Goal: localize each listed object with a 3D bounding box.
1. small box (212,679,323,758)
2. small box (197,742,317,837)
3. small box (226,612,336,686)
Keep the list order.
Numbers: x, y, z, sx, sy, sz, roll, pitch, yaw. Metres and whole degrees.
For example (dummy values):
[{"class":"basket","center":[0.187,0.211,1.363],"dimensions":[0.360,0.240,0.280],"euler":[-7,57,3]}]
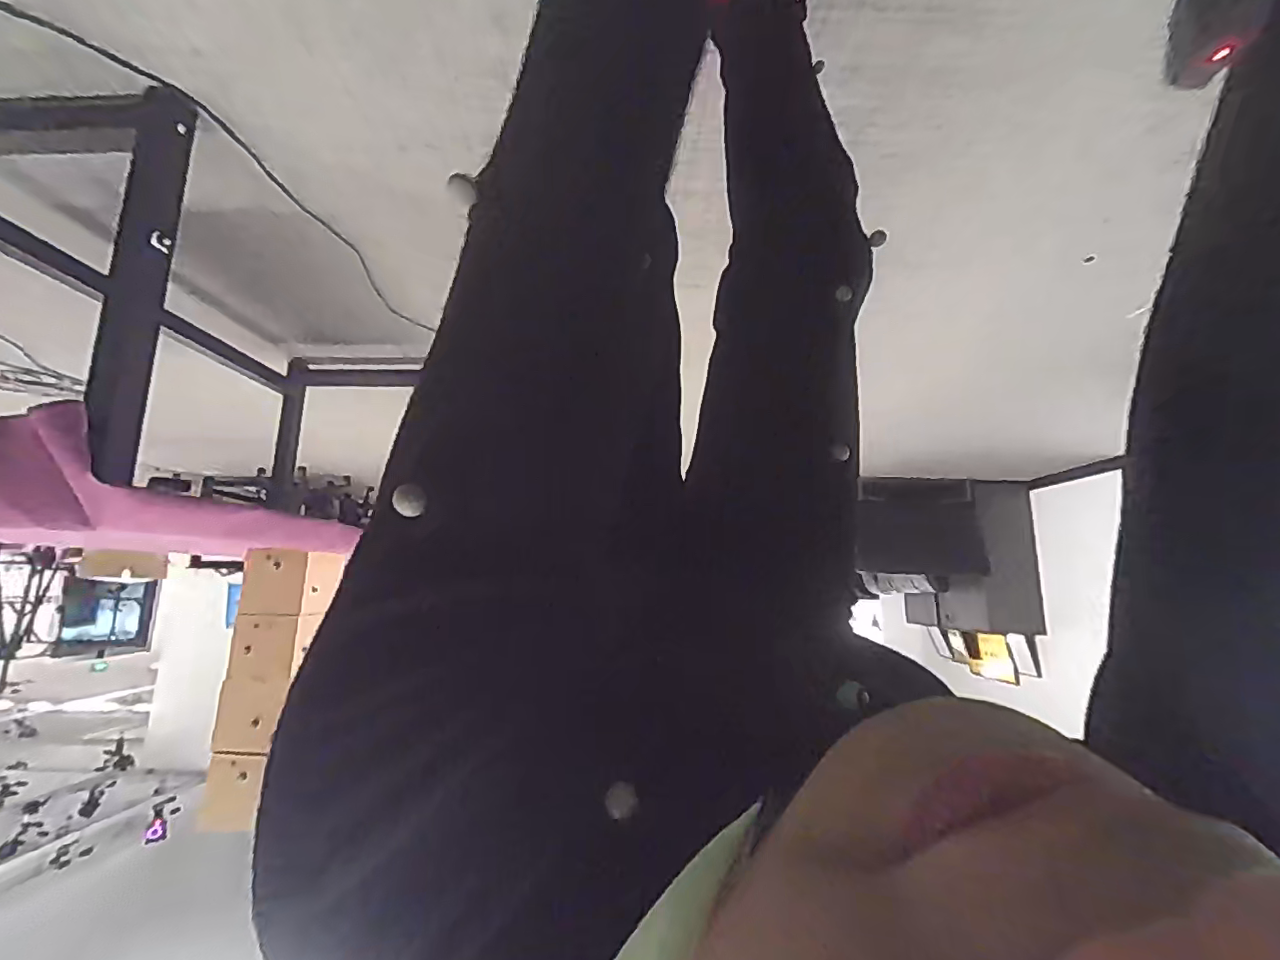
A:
[{"class":"small box","center":[-0.944,0.598,1.388],"dimensions":[0.179,0.176,0.168],"euler":[1,168,2]},{"class":"small box","center":[-0.944,0.759,1.353],"dimensions":[0.168,0.176,0.179],"euler":[1,167,3]},{"class":"small box","center":[-0.934,0.439,1.421],"dimensions":[0.168,0.176,0.179],"euler":[1,169,1]}]
